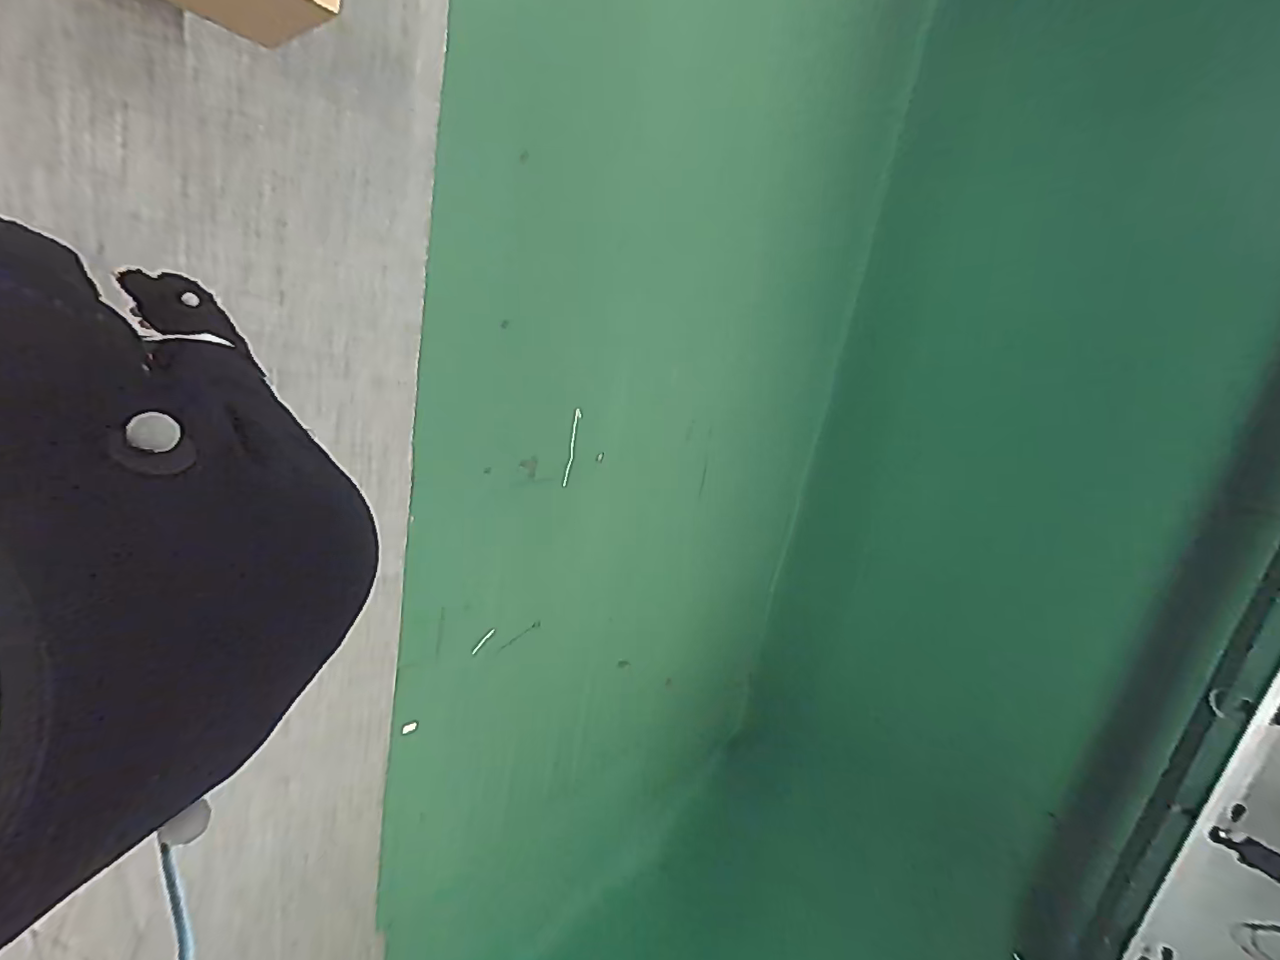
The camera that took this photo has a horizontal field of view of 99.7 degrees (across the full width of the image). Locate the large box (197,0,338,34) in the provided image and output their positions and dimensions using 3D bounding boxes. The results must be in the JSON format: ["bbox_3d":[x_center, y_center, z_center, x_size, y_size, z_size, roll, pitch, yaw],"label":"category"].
[{"bbox_3d":[-0.670,-0.905,0.732,0.408,0.320,0.320,-5,111,-50],"label":"large box"}]
